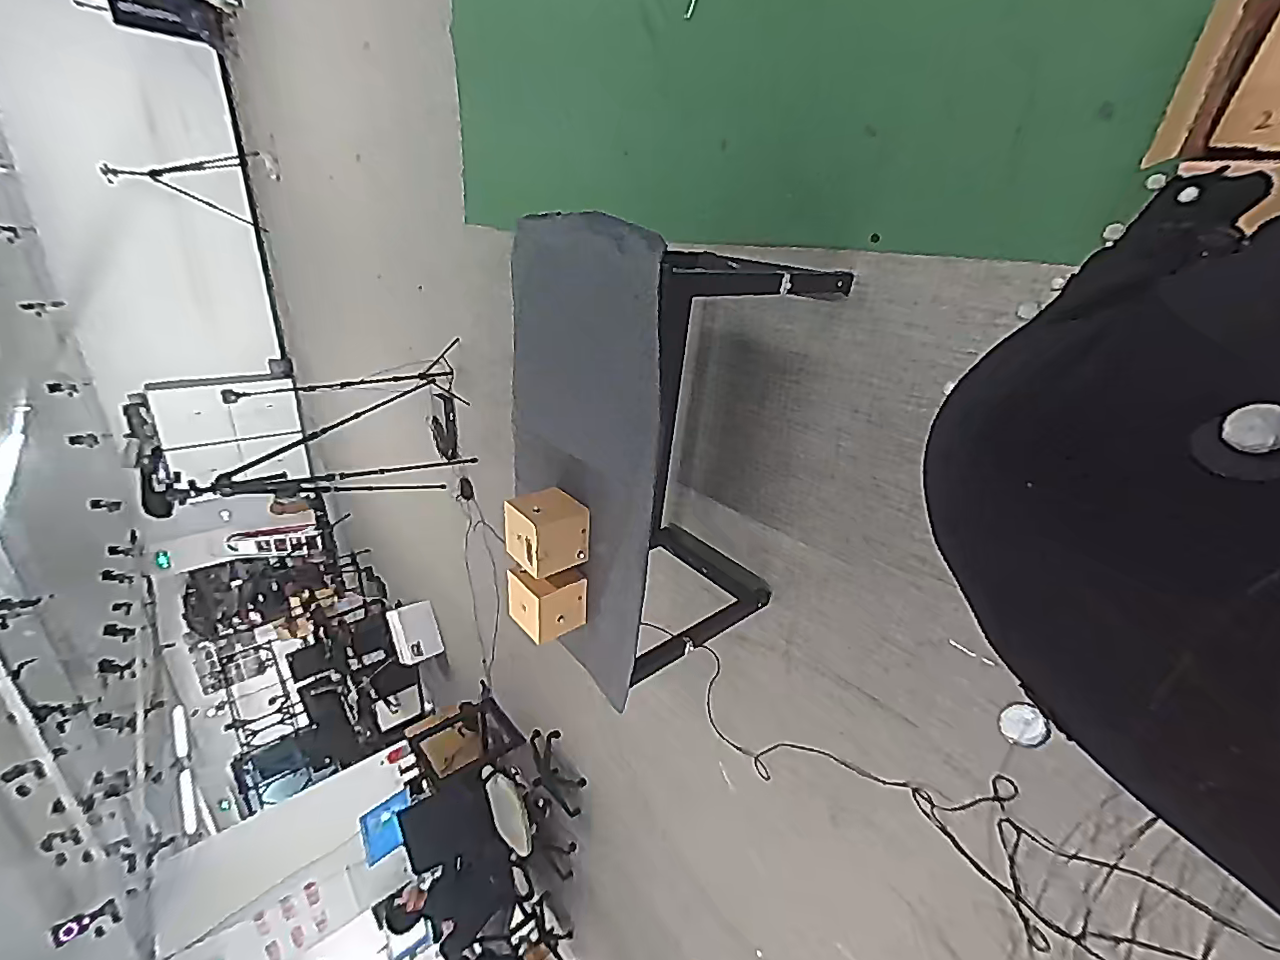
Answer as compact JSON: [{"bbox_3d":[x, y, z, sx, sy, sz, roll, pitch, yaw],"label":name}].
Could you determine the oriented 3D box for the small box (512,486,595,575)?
[{"bbox_3d":[-0.239,0.131,1.506,0.179,0.176,0.168,29,125,43],"label":"small box"}]

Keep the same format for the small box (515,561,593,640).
[{"bbox_3d":[-0.251,0.333,1.600,0.179,0.176,0.168,29,125,43],"label":"small box"}]
